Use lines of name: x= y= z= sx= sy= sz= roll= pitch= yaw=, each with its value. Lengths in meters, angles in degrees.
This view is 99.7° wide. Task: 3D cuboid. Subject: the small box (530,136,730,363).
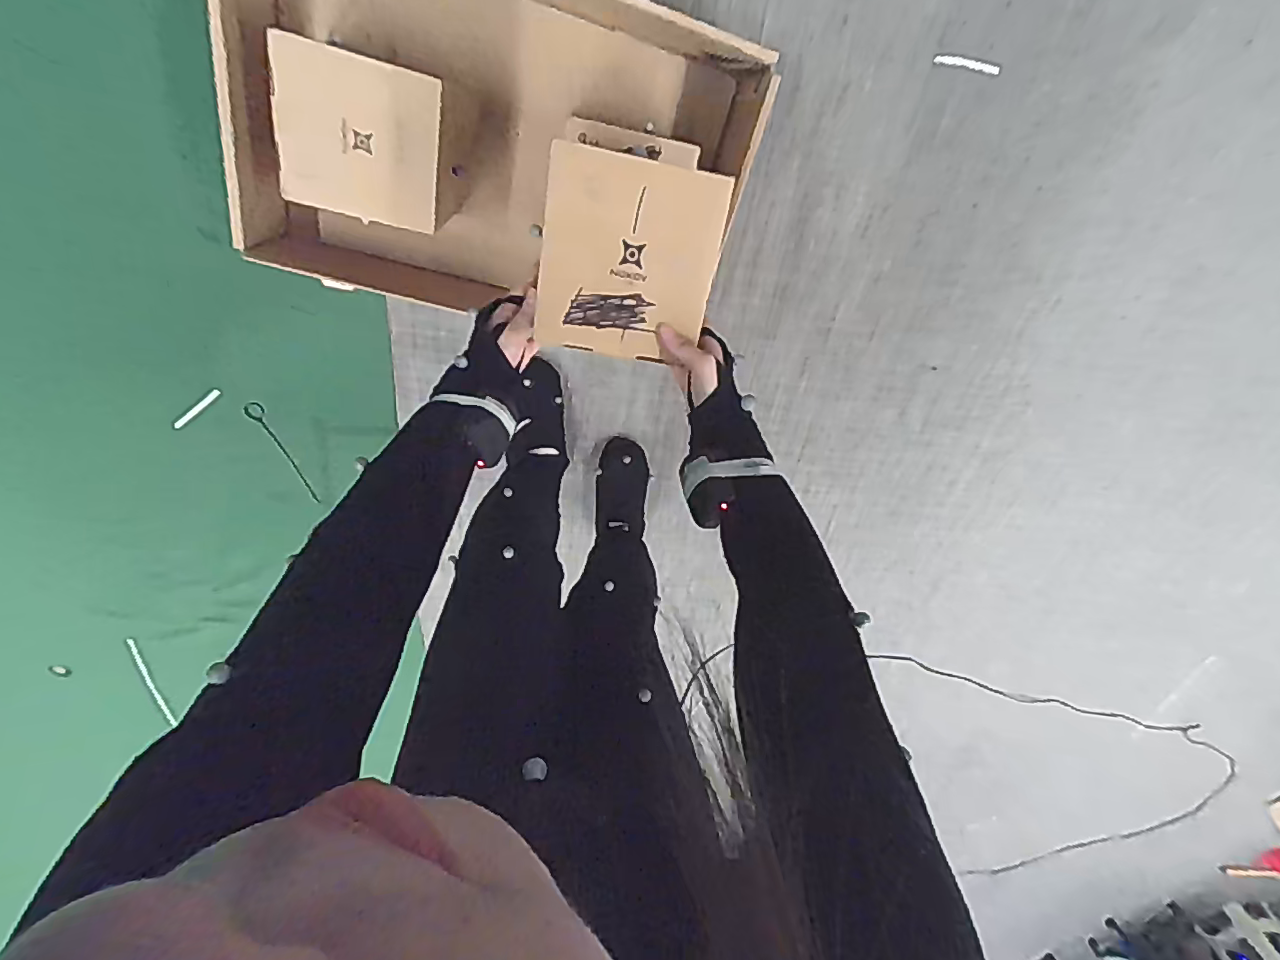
small box: x=-0.021 y=-0.242 z=0.576 sx=0.168 sy=0.176 sz=0.179 roll=6 pitch=117 yaw=-11

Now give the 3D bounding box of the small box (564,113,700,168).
small box: x=-0.030 y=-0.387 z=0.749 sx=0.168 sy=0.176 sz=0.179 roll=7 pitch=123 yaw=-11
